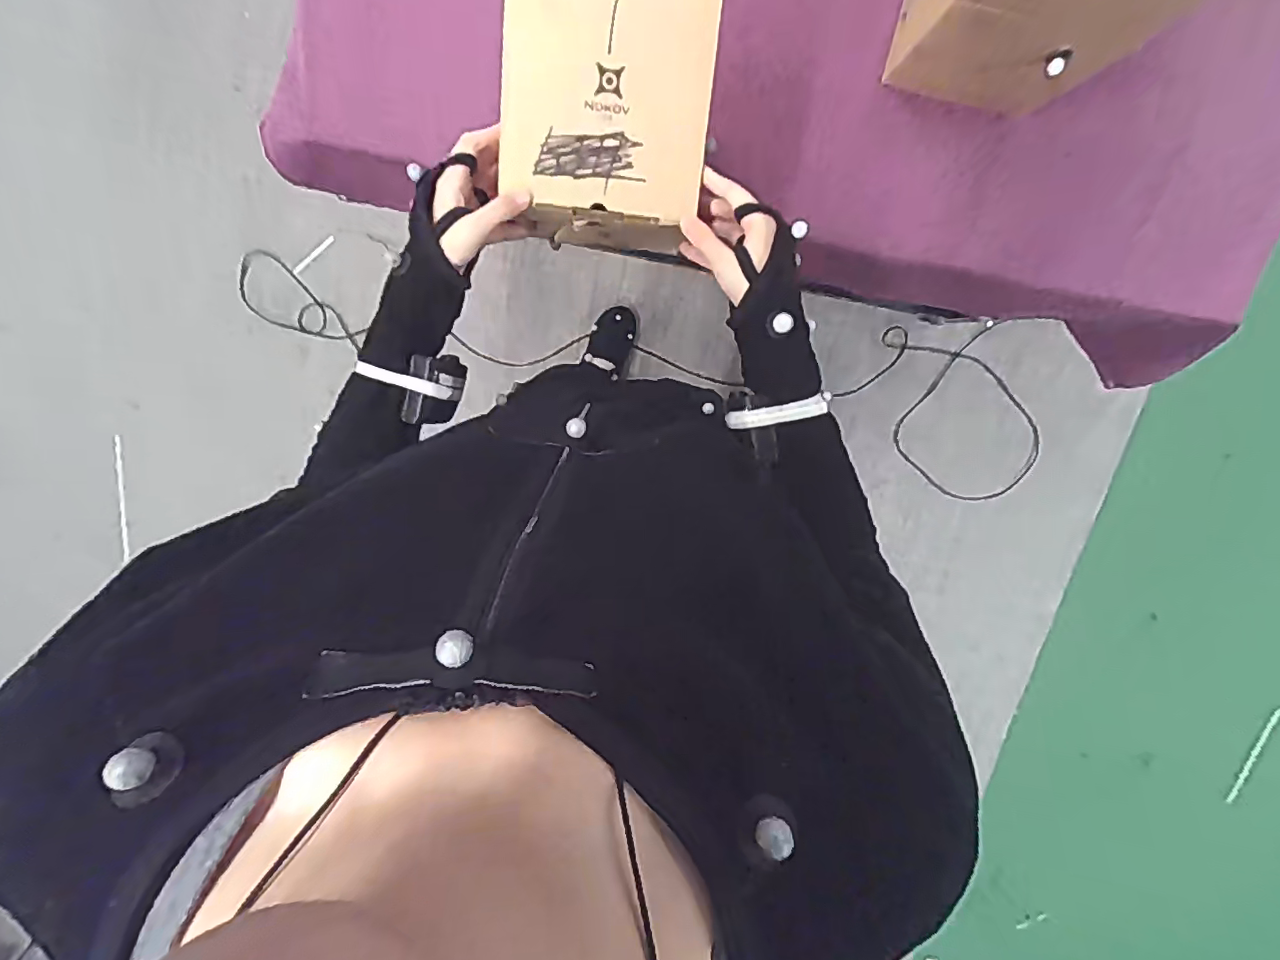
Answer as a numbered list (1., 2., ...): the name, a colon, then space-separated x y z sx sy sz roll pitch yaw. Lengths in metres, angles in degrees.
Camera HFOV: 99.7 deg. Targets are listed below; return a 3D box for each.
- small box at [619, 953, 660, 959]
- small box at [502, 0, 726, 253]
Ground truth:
1. small box: -0.010 1.827 1.901 0.168 0.176 0.179 10 103 -1
2. small box: -0.026 -0.321 0.505 0.168 0.176 0.179 5 104 -4
